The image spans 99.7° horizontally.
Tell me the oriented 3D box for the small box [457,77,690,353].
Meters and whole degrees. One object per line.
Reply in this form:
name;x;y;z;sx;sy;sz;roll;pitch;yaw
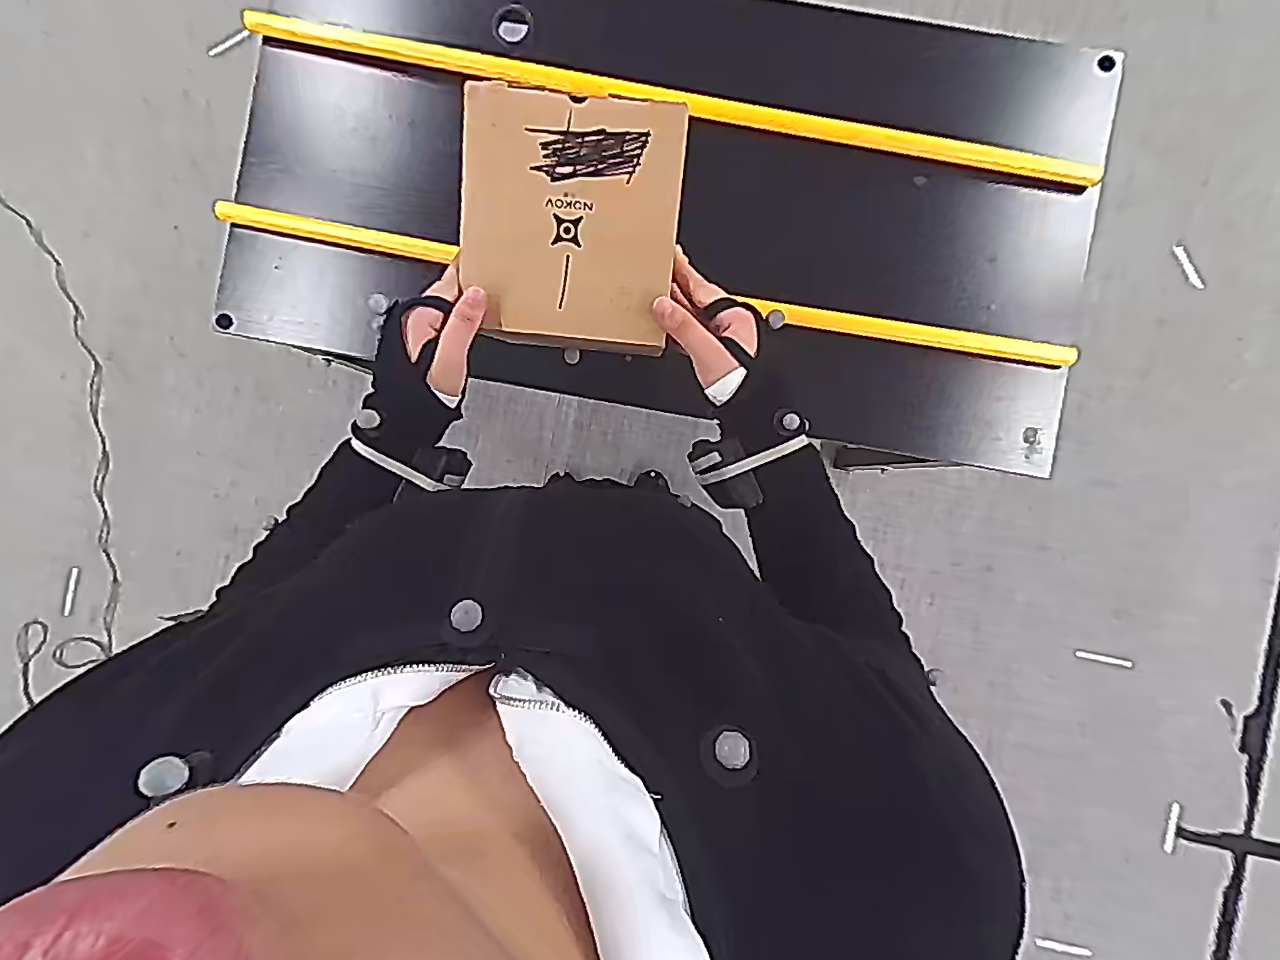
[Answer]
small box;-0.054;-0.215;0.489;0.168;0.176;0.179;6;101;-1
